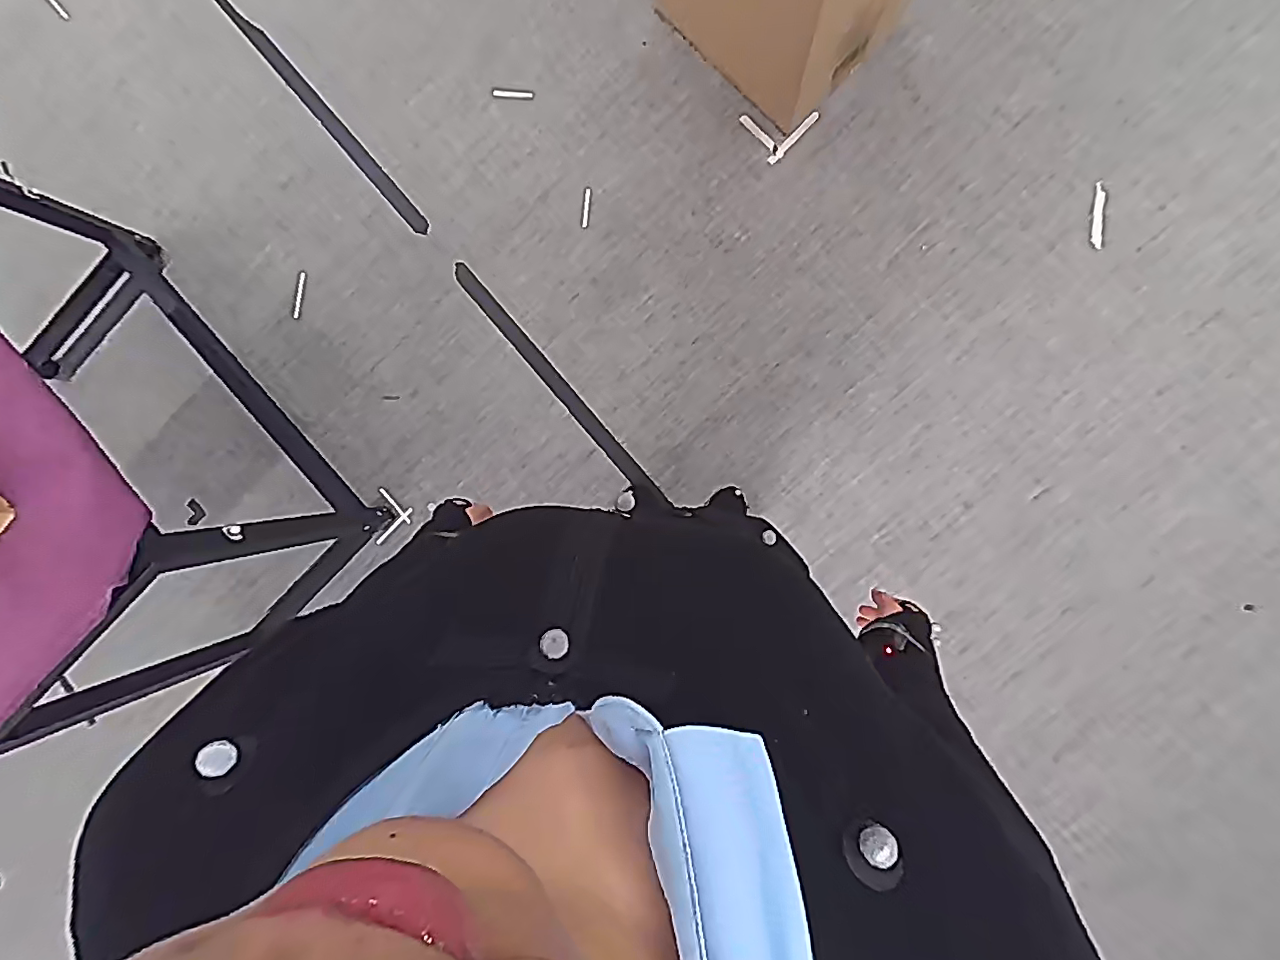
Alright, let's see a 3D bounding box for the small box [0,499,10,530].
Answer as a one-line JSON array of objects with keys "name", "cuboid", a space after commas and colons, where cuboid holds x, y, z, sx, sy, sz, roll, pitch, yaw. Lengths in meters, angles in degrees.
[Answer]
[{"name": "small box", "cuboid": [-1.163, 0.056, 0.835, 0.179, 0.176, 0.168, 45, 96, 5]}]
